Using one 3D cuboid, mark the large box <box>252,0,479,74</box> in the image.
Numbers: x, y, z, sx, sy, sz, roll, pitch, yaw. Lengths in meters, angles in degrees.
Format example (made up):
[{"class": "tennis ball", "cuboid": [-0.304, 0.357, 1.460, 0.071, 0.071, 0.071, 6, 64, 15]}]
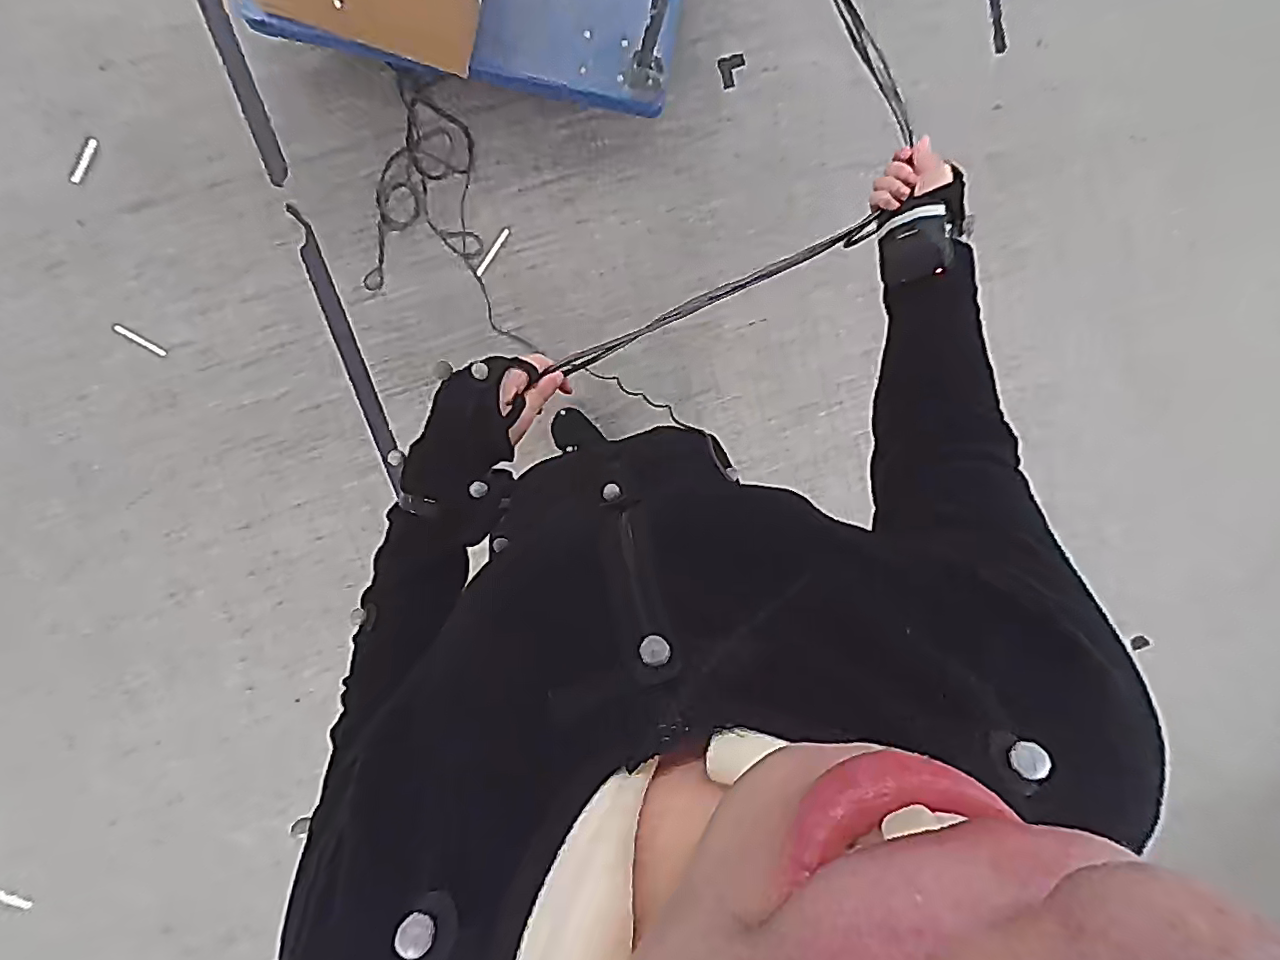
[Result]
[{"class": "large box", "cuboid": [-0.498, -0.991, 0.923, 0.408, 0.320, 0.320, 12, 97, -9]}]
